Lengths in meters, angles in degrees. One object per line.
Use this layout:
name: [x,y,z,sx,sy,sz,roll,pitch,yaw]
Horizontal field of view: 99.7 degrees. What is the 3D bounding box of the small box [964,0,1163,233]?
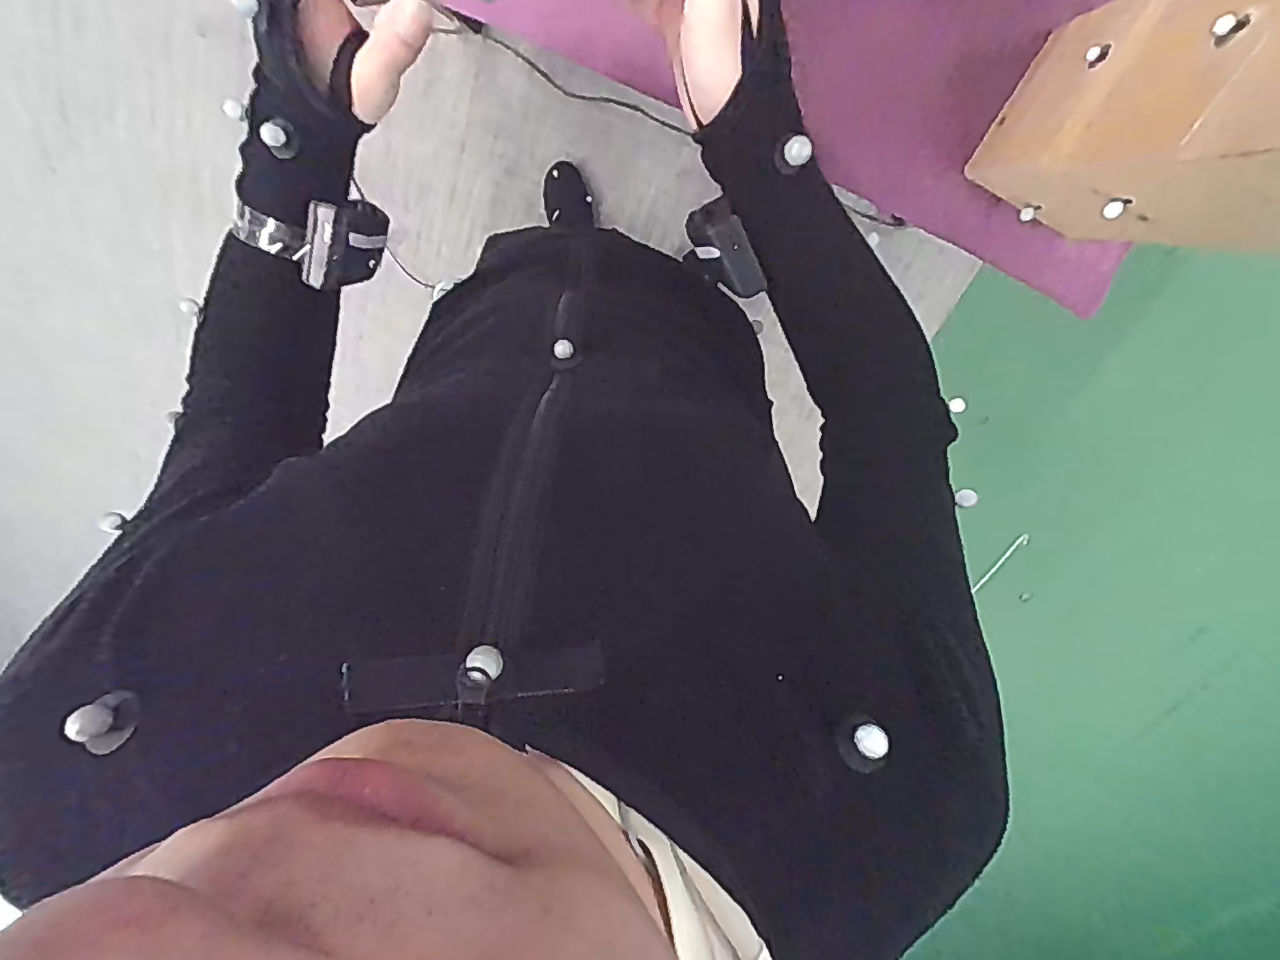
small box: [0.513,-0.397,0.594,0.179,0.176,0.168,24,116,-9]
